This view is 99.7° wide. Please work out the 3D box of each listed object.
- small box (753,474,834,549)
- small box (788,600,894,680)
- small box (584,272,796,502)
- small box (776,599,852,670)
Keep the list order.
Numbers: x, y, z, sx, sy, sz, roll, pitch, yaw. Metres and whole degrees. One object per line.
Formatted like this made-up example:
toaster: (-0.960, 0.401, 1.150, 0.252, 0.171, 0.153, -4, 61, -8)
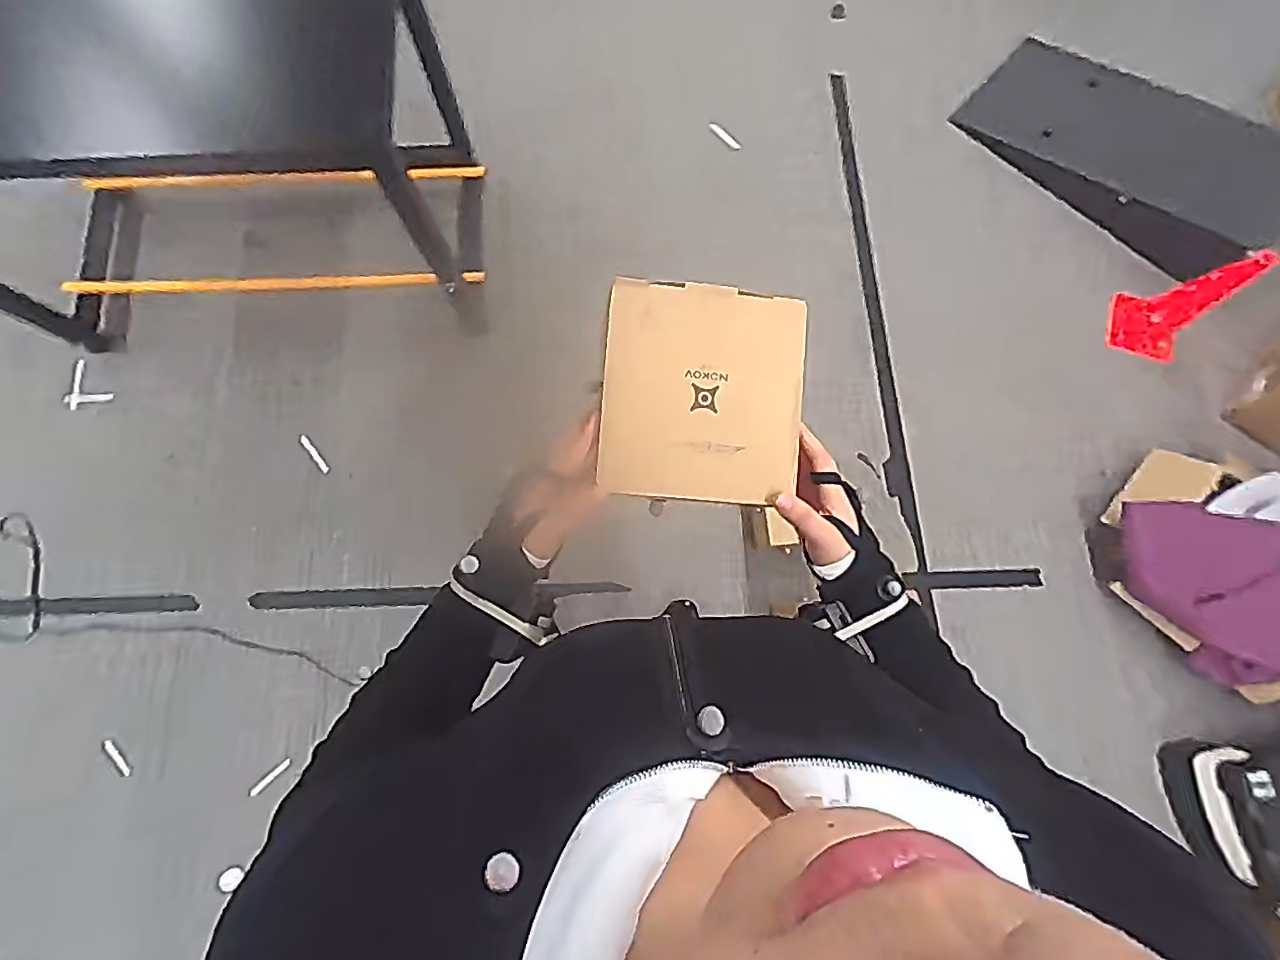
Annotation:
small box: (0.410, 0.090, 1.474, 0.168, 0.176, 0.179, -4, 78, -1)
small box: (0.454, 0.362, 1.247, 0.179, 0.176, 0.168, -1, 77, 0)
small box: (0.035, -0.072, 0.516, 0.168, 0.176, 0.179, 4, 88, -6)
small box: (0.461, 0.400, 1.409, 0.179, 0.176, 0.168, -3, 78, 0)
